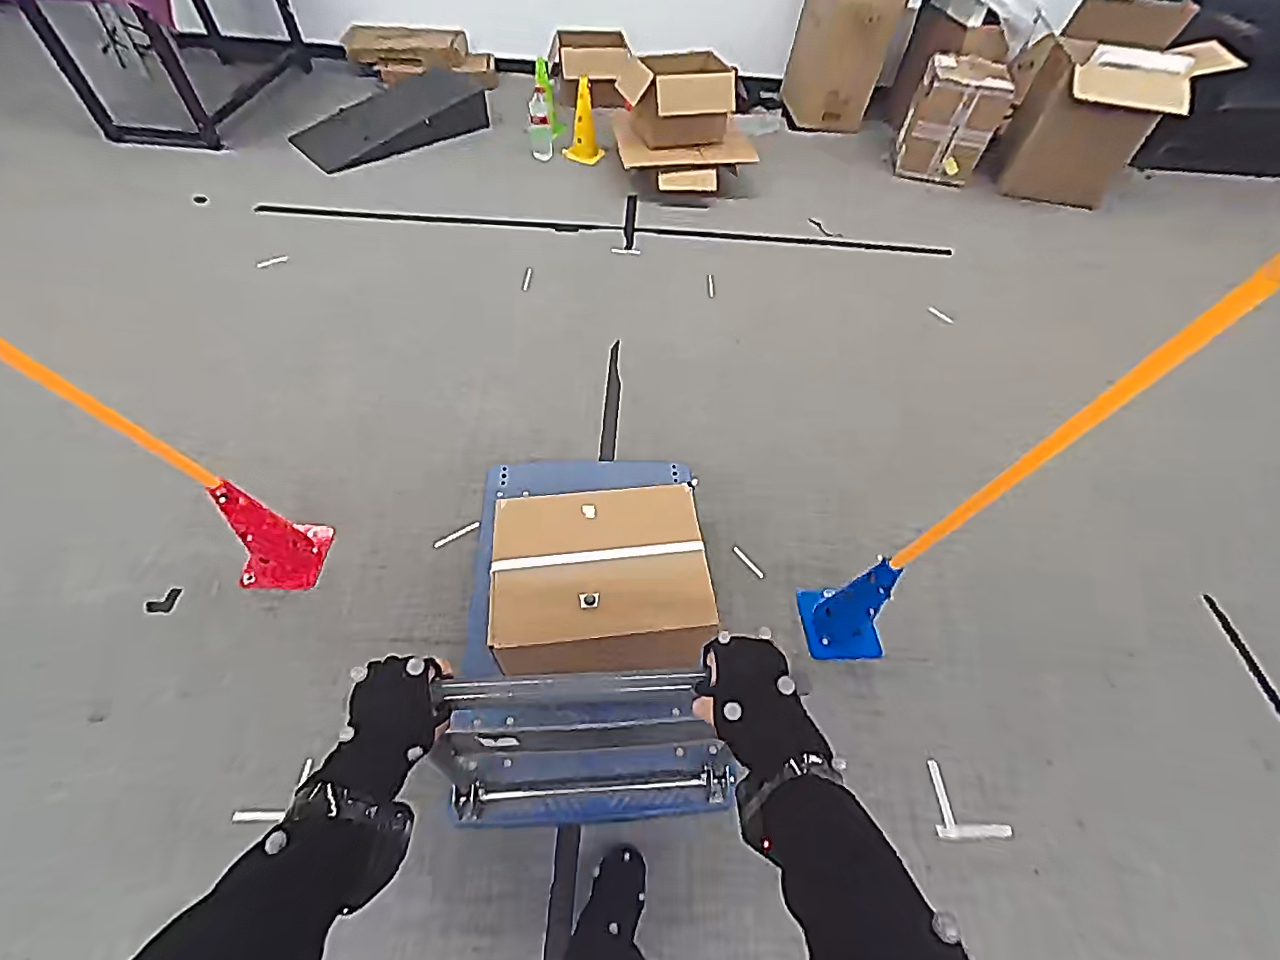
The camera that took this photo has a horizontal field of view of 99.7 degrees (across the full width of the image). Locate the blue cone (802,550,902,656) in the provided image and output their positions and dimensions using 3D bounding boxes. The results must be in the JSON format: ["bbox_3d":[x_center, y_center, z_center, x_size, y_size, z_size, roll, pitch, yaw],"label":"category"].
[{"bbox_3d":[0.565,0.294,1.362,0.193,0.380,0.192,0,53,-4],"label":"blue cone"}]
